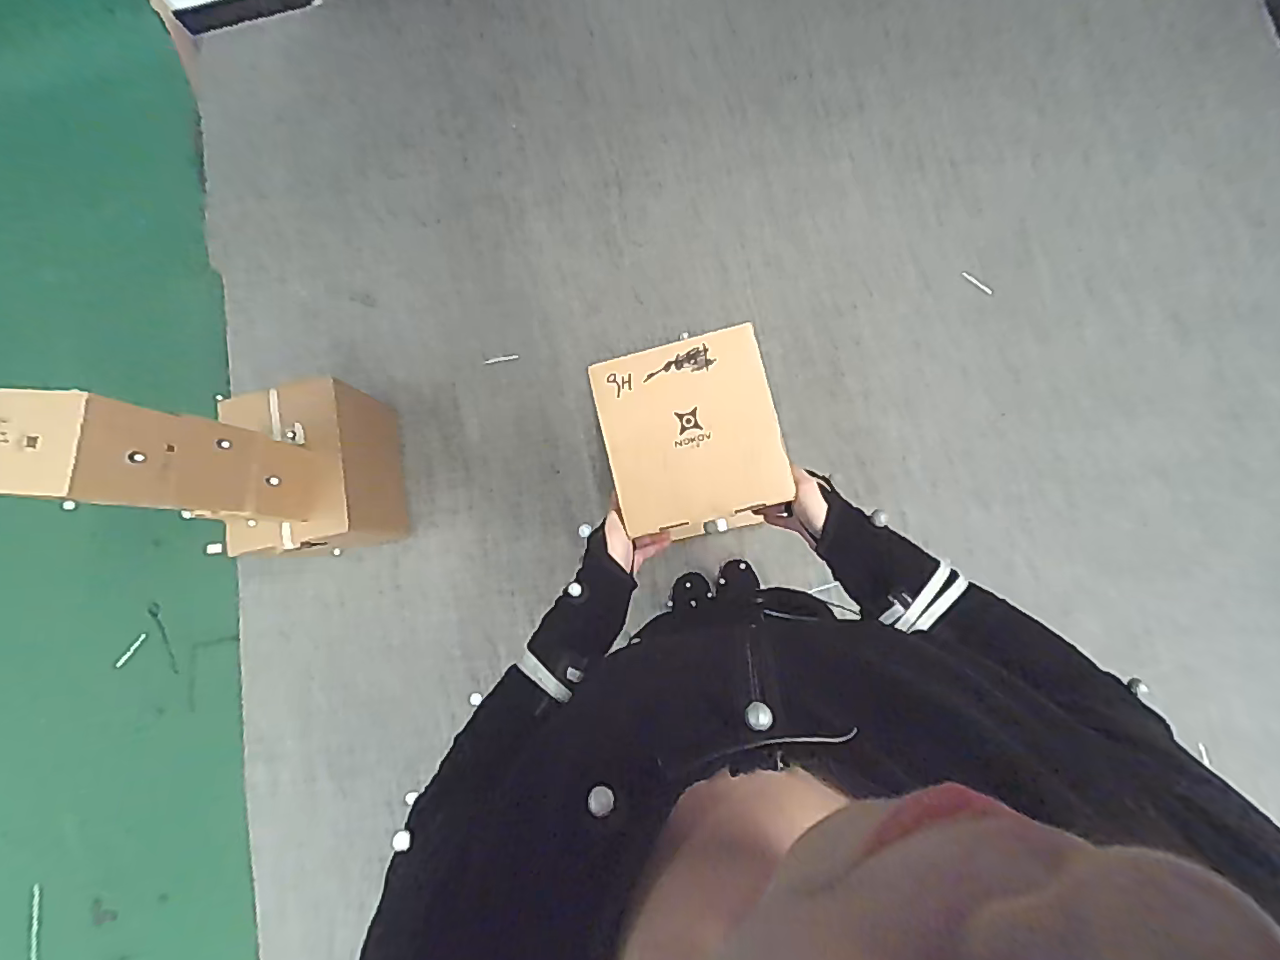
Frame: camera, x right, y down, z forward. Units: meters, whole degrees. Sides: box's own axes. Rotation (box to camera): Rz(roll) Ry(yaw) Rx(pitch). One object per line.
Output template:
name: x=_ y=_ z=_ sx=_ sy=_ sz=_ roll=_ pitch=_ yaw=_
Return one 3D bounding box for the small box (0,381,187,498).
small box: x=-0.923 y=-0.061 z=0.911 sx=0.179 sy=0.176 sz=0.168 roll=3 pitch=83 yaw=6

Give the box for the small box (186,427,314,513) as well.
small box: x=-0.878 y=-0.017 z=1.233 sx=0.168 sy=0.176 sz=0.179 roll=-1 pitch=83 yaw=5

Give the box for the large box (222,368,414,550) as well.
large box: x=-0.860 y=-0.037 z=1.479 sx=0.320 sy=0.320 sz=0.408 roll=-12 pitch=81 yaw=3

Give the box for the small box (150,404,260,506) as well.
small box: x=-0.899 y=-0.046 z=1.074 sx=0.168 sy=0.176 sz=0.179 roll=2 pitch=84 yaw=6

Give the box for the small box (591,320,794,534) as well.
small box: x=0.058 y=-0.049 z=0.595 sx=0.168 sy=0.176 sz=0.179 roll=-14 pitch=87 yaw=5
